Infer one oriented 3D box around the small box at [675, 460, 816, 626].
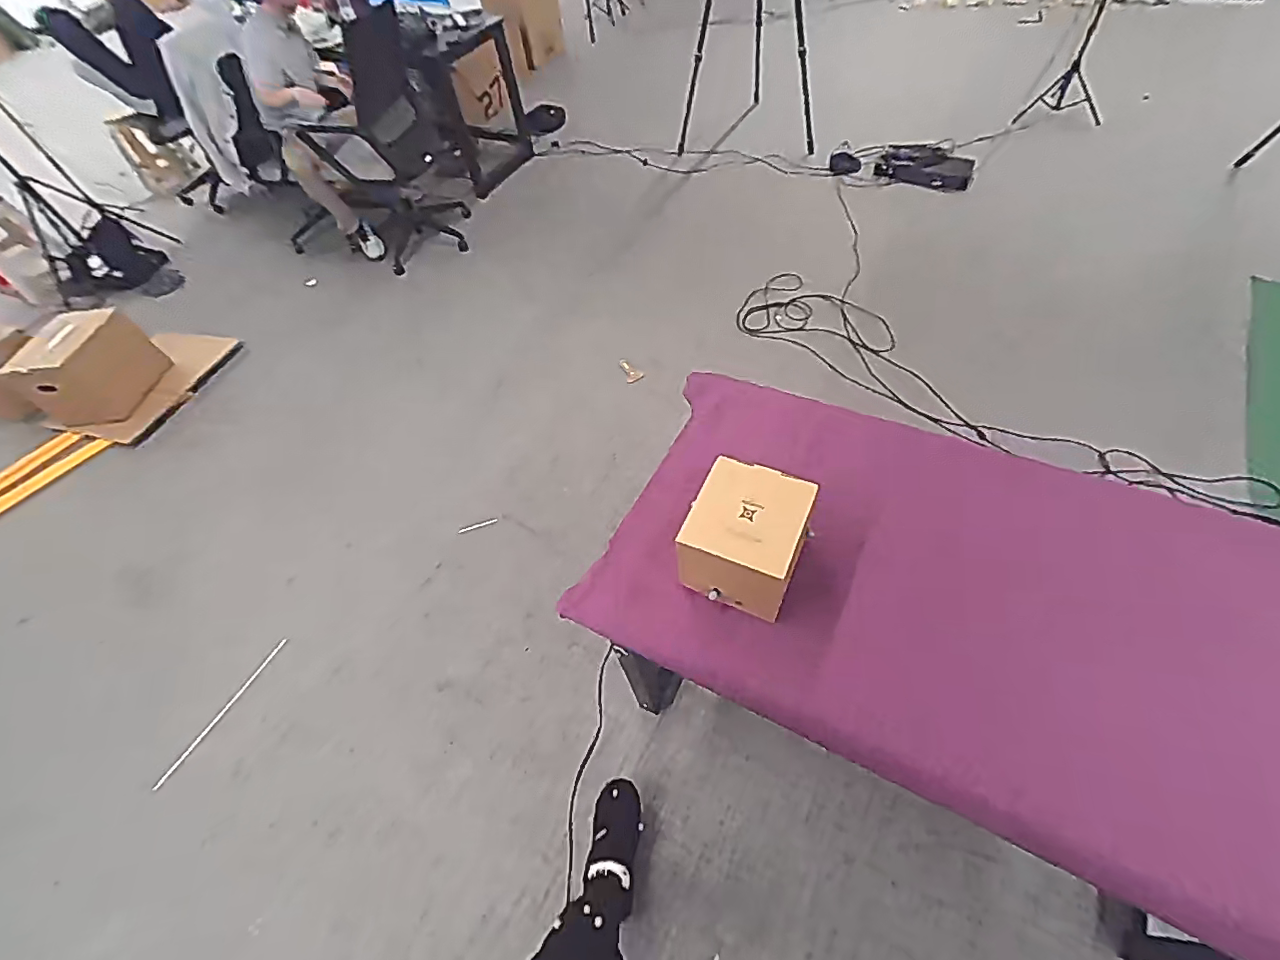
[{"bbox_3d":[0.168,0.103,0.871,0.168,0.176,0.179,18,59,21],"label":"small box"}]
